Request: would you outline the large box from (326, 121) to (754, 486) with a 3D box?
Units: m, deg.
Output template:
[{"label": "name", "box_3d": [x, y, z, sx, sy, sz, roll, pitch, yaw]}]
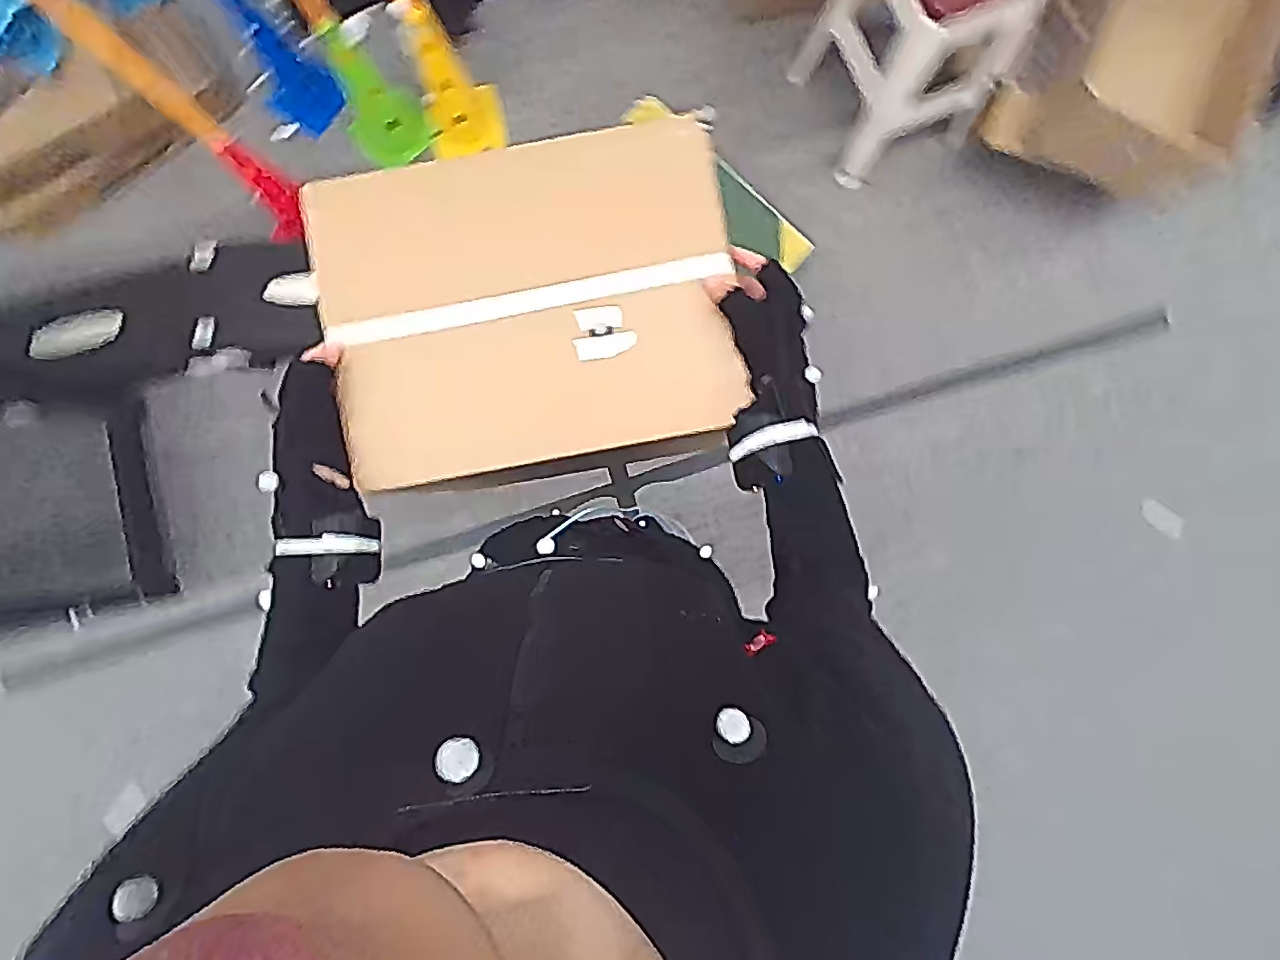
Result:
[{"label": "large box", "box_3d": [-0.104, -0.179, 0.700, 0.408, 0.320, 0.320, -10, 90, 0]}]
